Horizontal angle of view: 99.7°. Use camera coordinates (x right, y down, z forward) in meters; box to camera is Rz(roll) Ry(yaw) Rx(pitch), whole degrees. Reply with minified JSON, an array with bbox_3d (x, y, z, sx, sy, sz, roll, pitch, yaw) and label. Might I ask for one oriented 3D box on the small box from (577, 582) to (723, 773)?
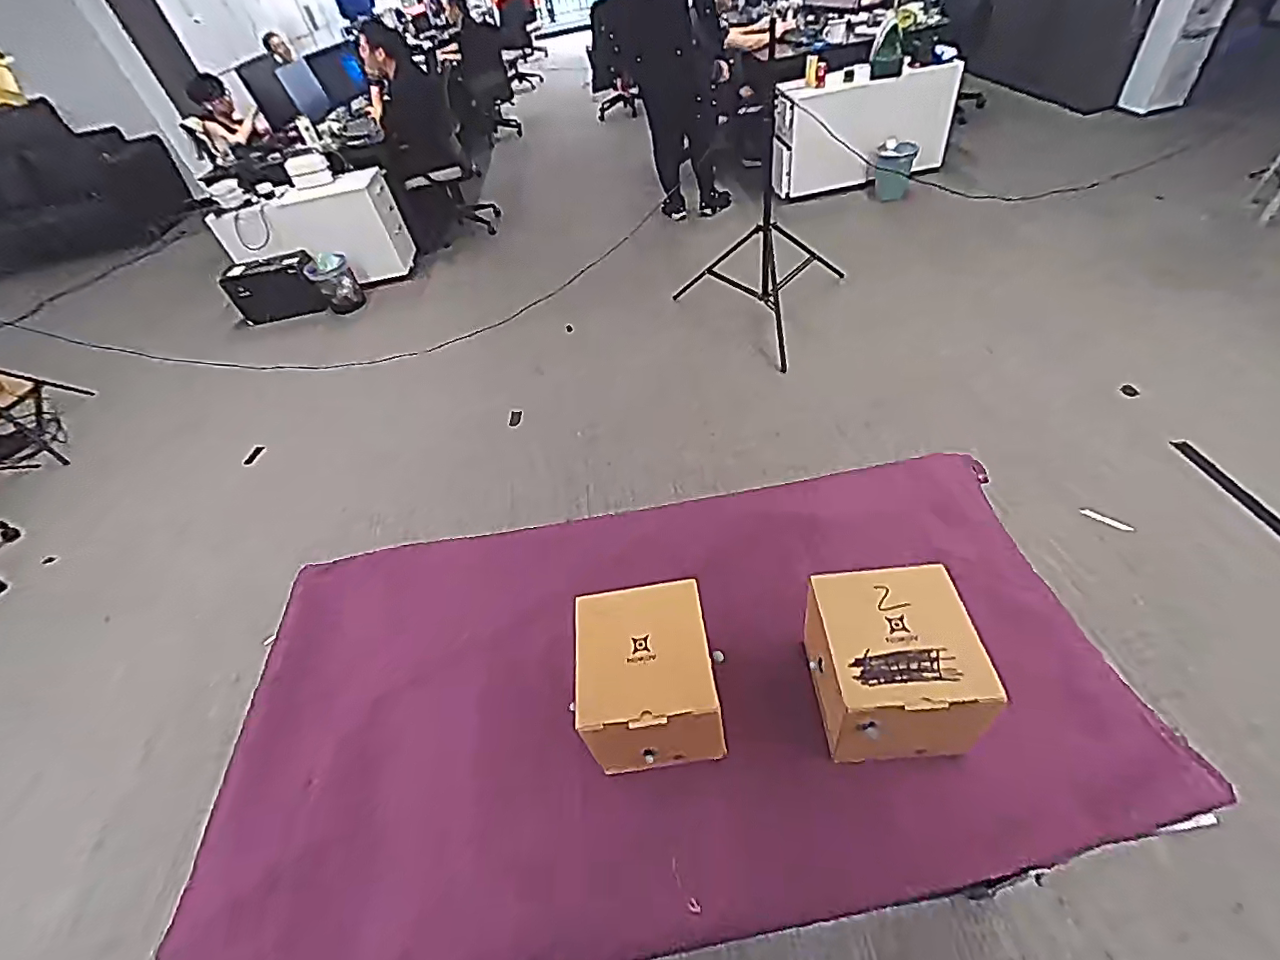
[{"bbox_3d":[0.014,0.264,0.721,0.168,0.176,0.179,-10,46,3],"label":"small box"}]
